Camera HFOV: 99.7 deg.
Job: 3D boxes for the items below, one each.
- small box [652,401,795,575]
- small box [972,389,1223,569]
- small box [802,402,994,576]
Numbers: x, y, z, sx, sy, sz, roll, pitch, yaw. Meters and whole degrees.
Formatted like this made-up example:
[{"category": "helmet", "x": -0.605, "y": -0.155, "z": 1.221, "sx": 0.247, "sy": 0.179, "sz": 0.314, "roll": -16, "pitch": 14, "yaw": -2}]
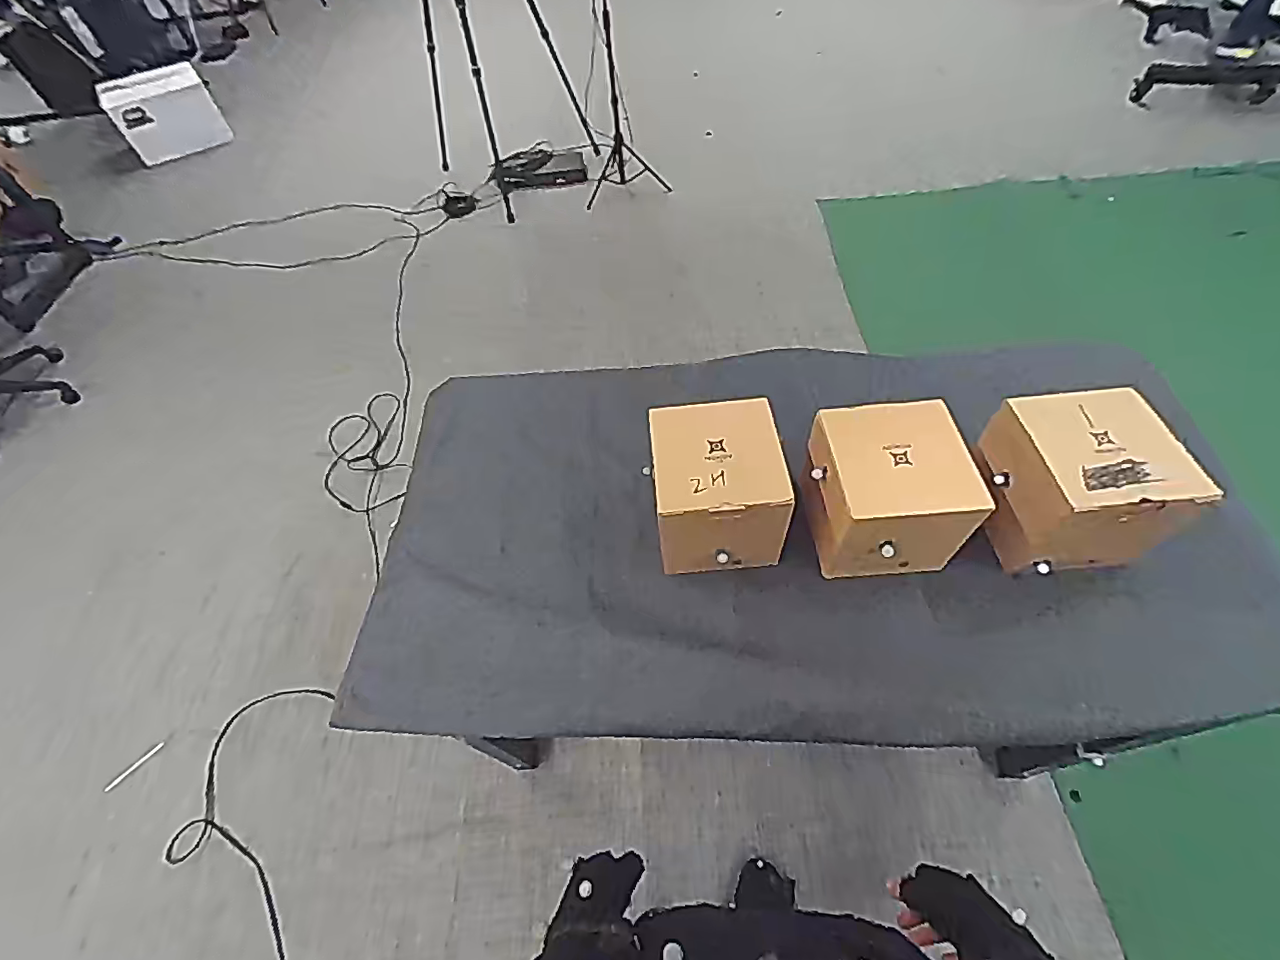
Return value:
[{"category": "small box", "x": 0.104, "y": 0.014, "z": 0.754, "sx": 0.168, "sy": 0.176, "sz": 0.179, "roll": -5, "pitch": 54, "yaw": 2}, {"category": "small box", "x": 0.567, "y": 0.007, "z": 0.711, "sx": 0.168, "sy": 0.176, "sz": 0.179, "roll": -5, "pitch": 53, "yaw": 2}, {"category": "small box", "x": 0.327, "y": 0.020, "z": 0.729, "sx": 0.168, "sy": 0.176, "sz": 0.179, "roll": -5, "pitch": 53, "yaw": 2}]
